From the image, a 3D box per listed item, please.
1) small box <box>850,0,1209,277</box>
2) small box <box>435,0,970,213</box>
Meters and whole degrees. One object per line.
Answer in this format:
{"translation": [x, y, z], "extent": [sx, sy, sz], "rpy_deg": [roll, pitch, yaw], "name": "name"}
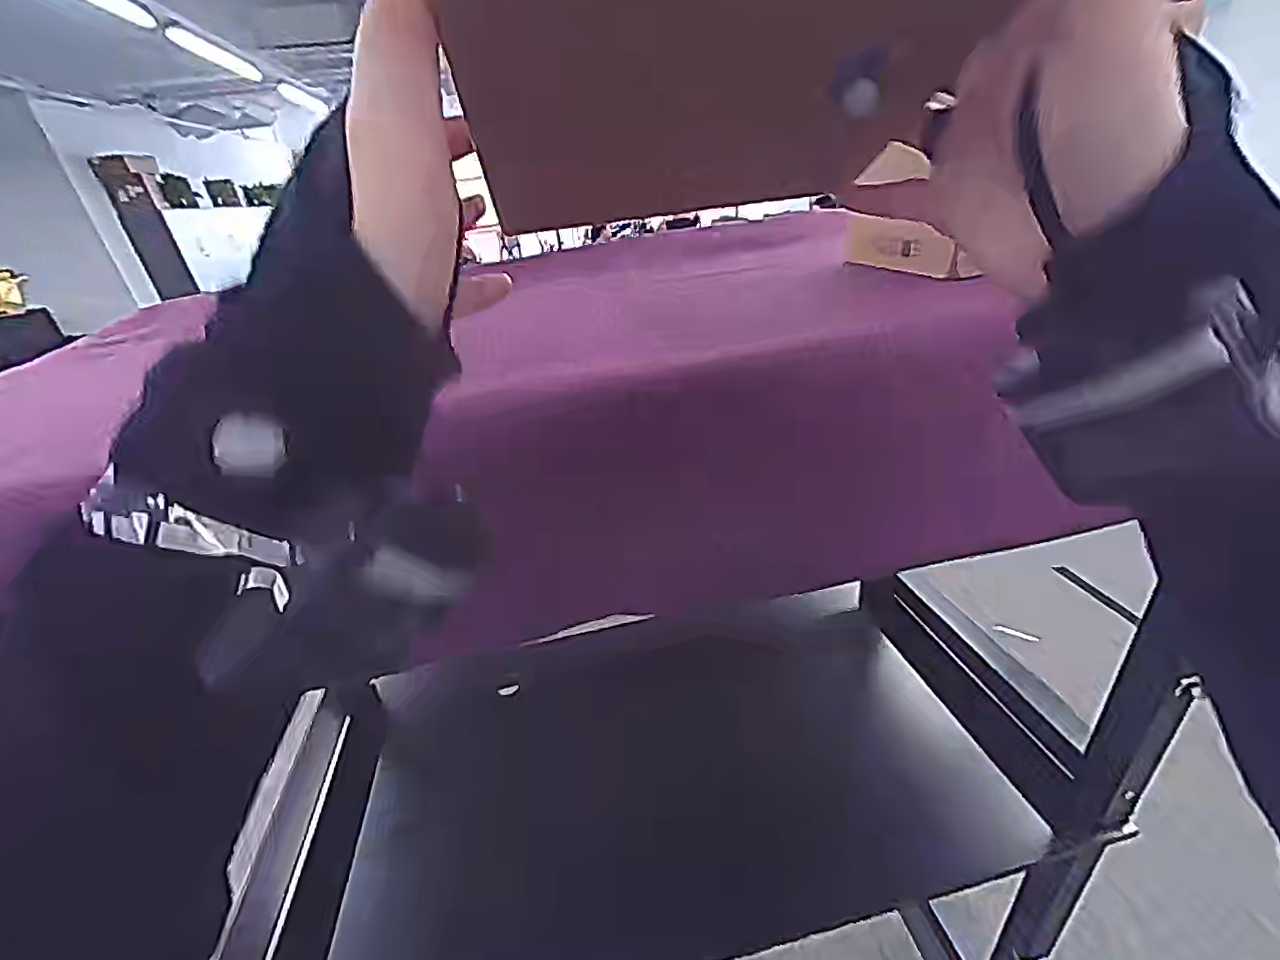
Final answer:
{"translation": [0.305, -0.284, 0.471], "extent": [0.179, 0.176, 0.168], "rpy_deg": [-11, 28, -7], "name": "small box"}
{"translation": [0.013, -0.220, 0.188], "extent": [0.179, 0.168, 0.176], "rpy_deg": [-10, -2, -6], "name": "small box"}
